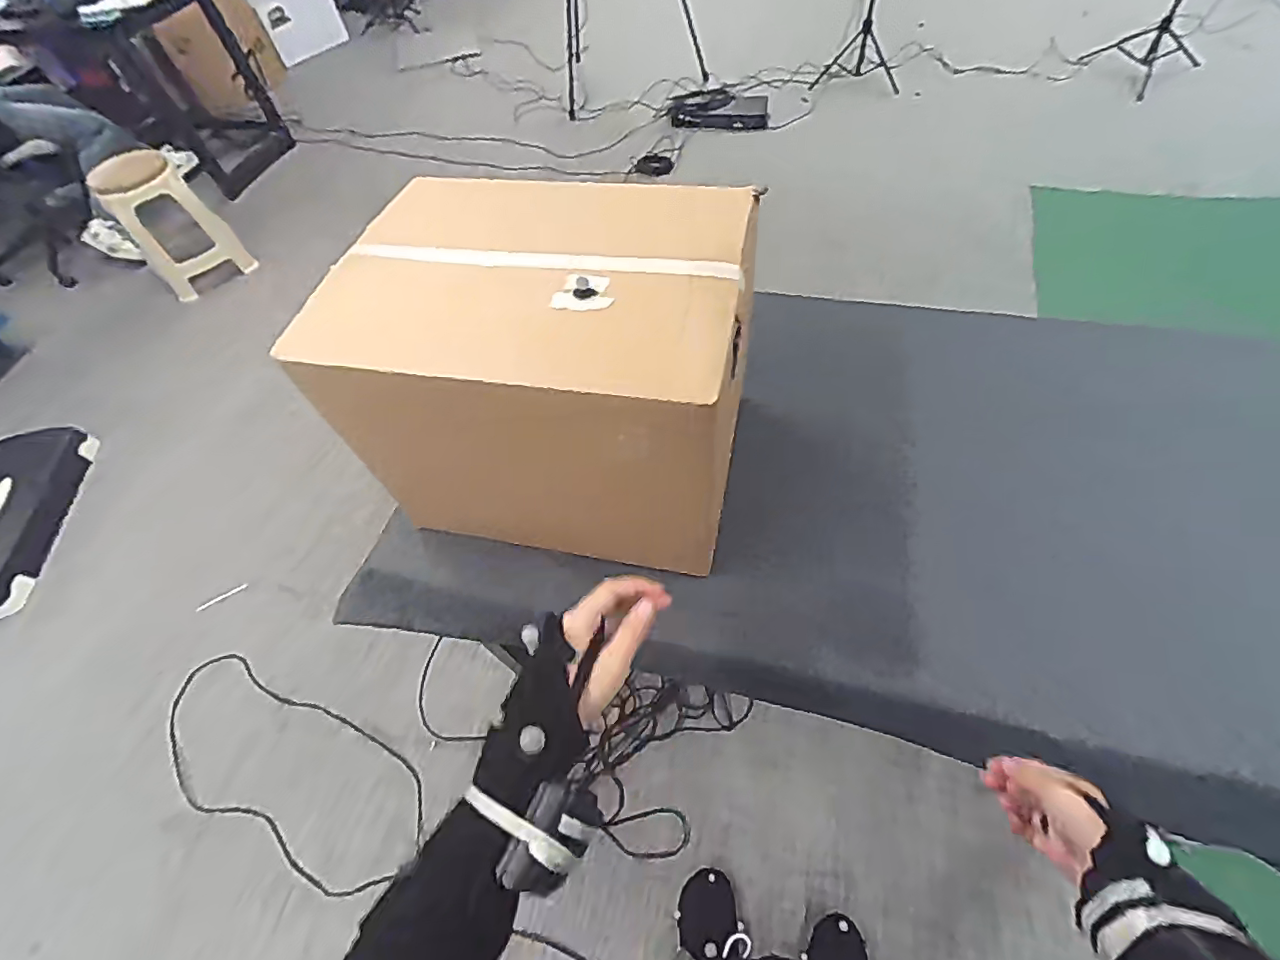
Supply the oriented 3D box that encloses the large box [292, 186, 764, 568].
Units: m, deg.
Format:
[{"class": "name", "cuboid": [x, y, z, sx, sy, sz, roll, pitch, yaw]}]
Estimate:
[{"class": "large box", "cuboid": [-0.082, -0.120, 0.653, 0.408, 0.320, 0.320, 8, 57, 10]}]
